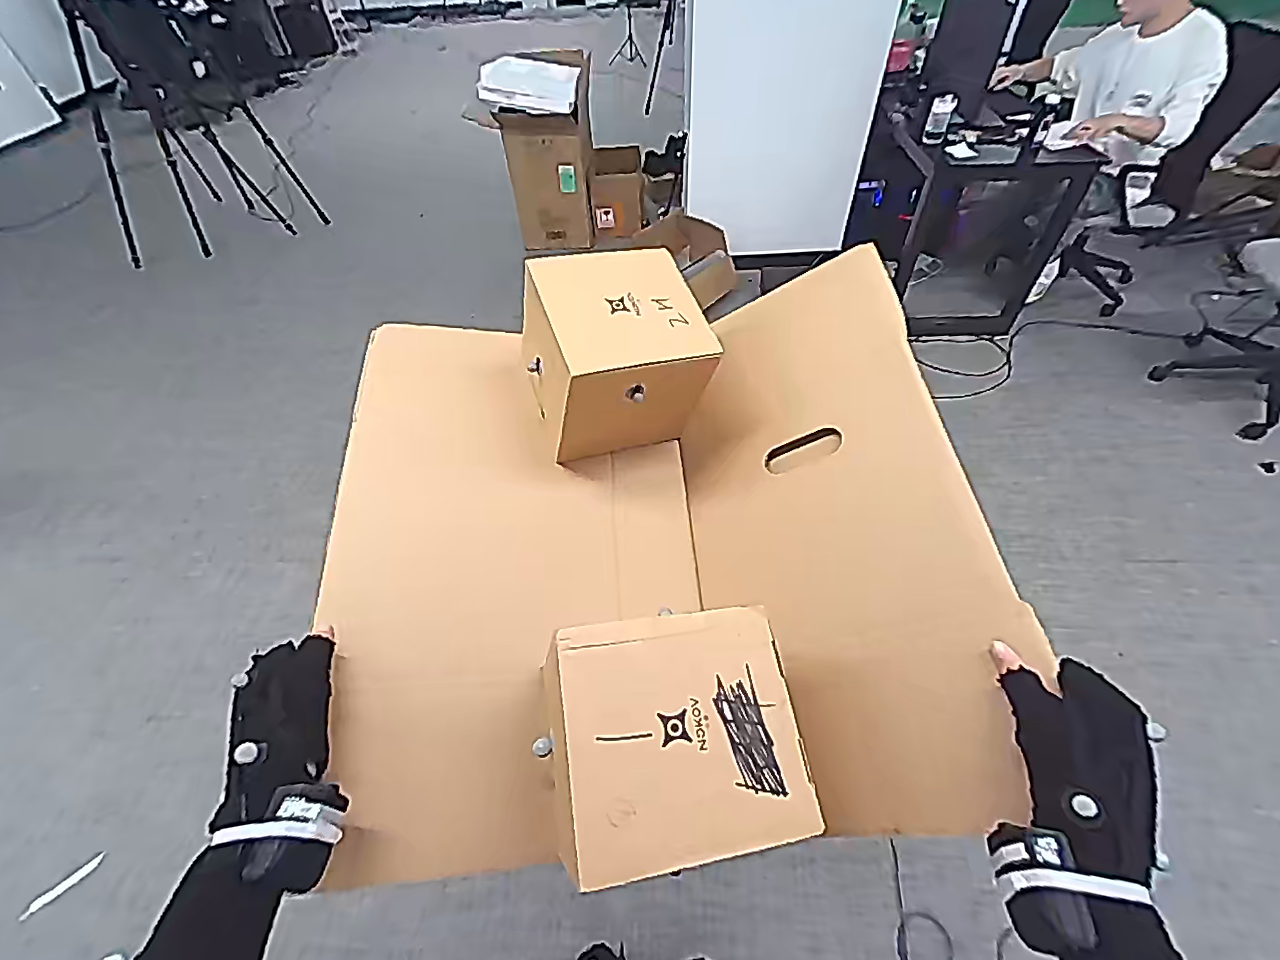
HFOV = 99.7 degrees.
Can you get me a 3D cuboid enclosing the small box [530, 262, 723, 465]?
[{"bbox_3d":[-0.030,-0.136,0.653,0.179,0.176,0.168,-12,65,-21],"label":"small box"}]
